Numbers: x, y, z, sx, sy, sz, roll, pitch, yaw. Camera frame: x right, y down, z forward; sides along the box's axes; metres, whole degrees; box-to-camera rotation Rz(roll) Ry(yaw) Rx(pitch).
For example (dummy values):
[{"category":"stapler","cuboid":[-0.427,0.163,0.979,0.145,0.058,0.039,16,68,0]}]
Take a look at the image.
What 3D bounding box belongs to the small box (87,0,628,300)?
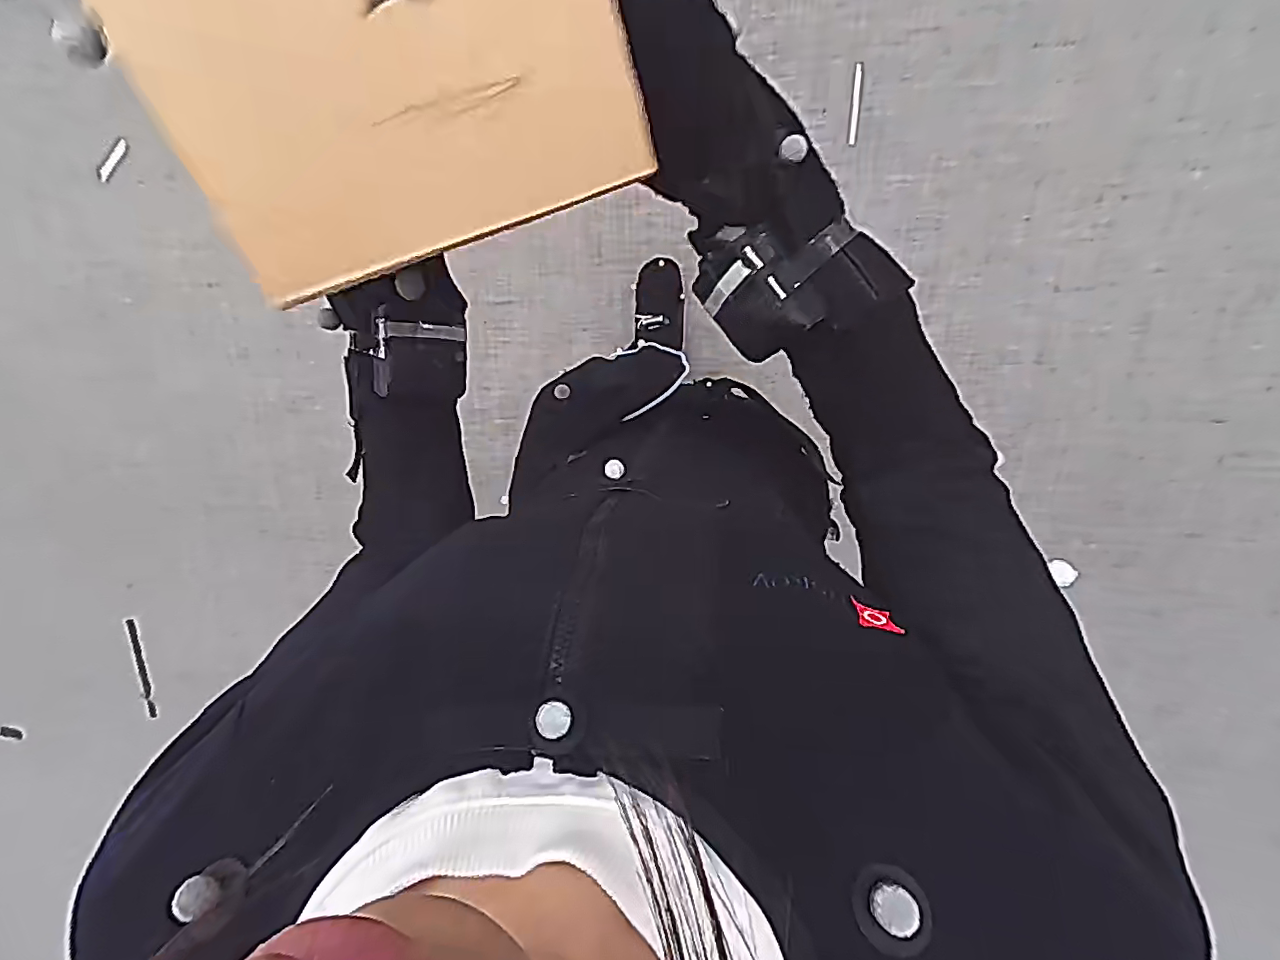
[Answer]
[{"category":"small box","cuboid":[-0.135,-0.197,0.260,0.168,0.176,0.179,-29,118,-17]}]
